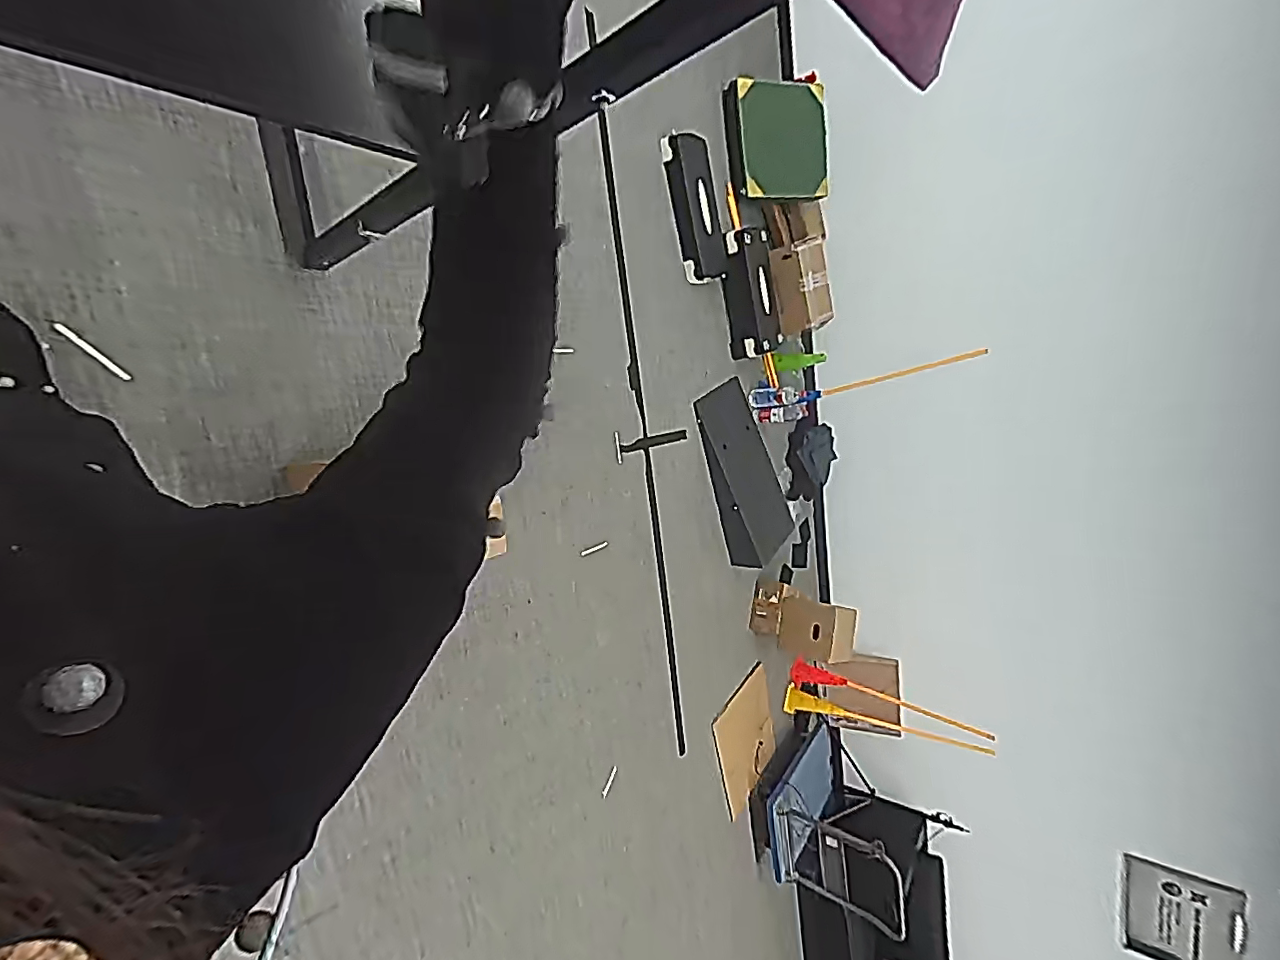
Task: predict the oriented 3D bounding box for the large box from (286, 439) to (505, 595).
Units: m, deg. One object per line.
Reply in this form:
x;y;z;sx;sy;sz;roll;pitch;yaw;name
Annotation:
-0.629;0.074;1.420;0.408;0.320;0.320;-16;103;-51;large box
